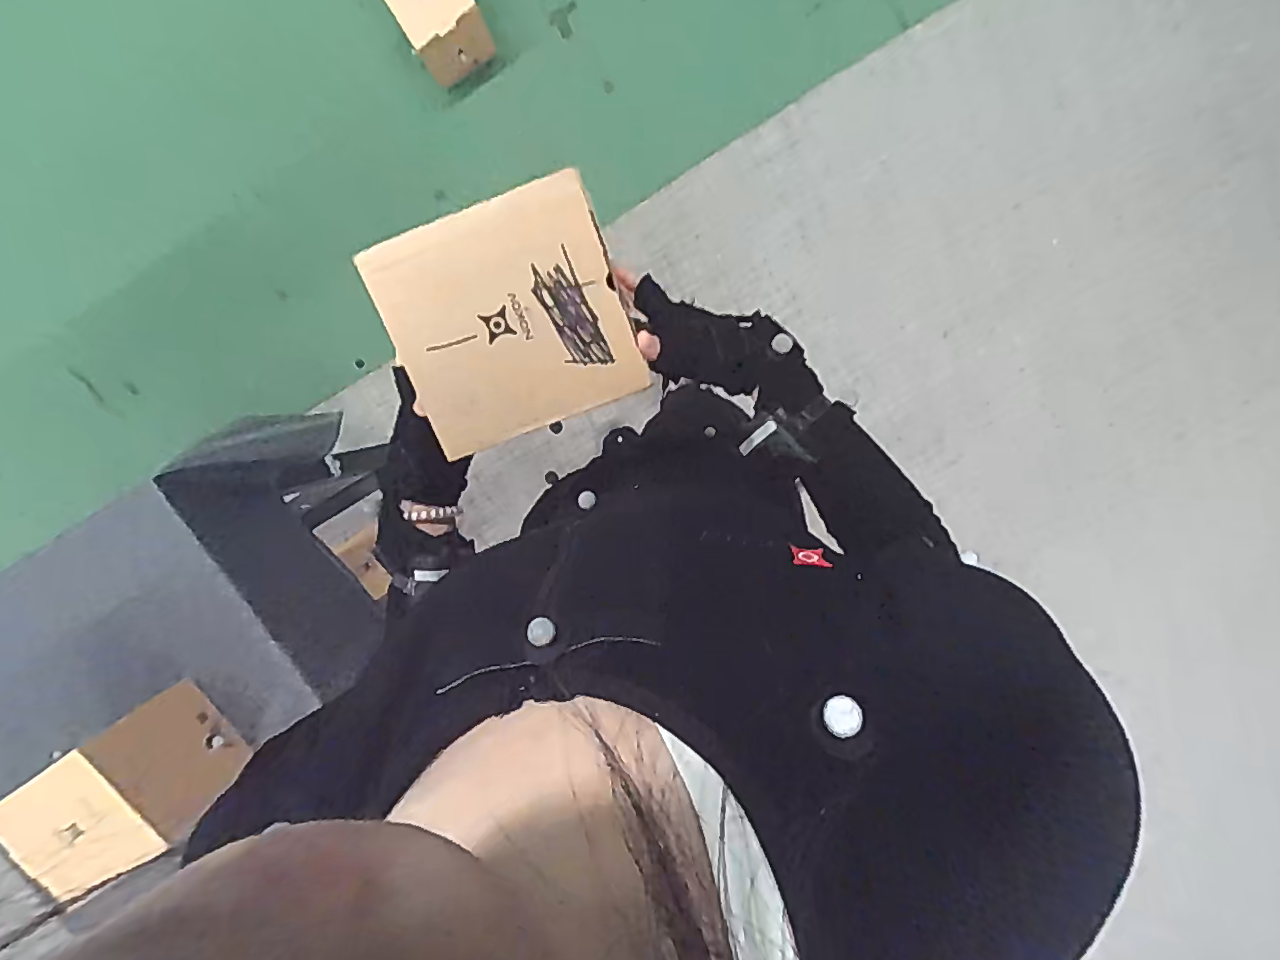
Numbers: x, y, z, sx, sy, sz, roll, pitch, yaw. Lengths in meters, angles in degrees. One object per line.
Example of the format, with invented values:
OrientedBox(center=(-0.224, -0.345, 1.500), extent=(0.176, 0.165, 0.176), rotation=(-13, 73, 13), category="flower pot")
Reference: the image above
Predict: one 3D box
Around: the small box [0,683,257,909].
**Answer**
OrientedBox(center=(-0.695, 0.424, 0.750), extent=(0.179, 0.176, 0.168), rotation=(-33, 98, 6), category="small box")

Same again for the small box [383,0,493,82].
OrientedBox(center=(-0.462, -1.055, 1.226), extent=(0.168, 0.176, 0.179), rotation=(-31, 99, 6), category="small box")
